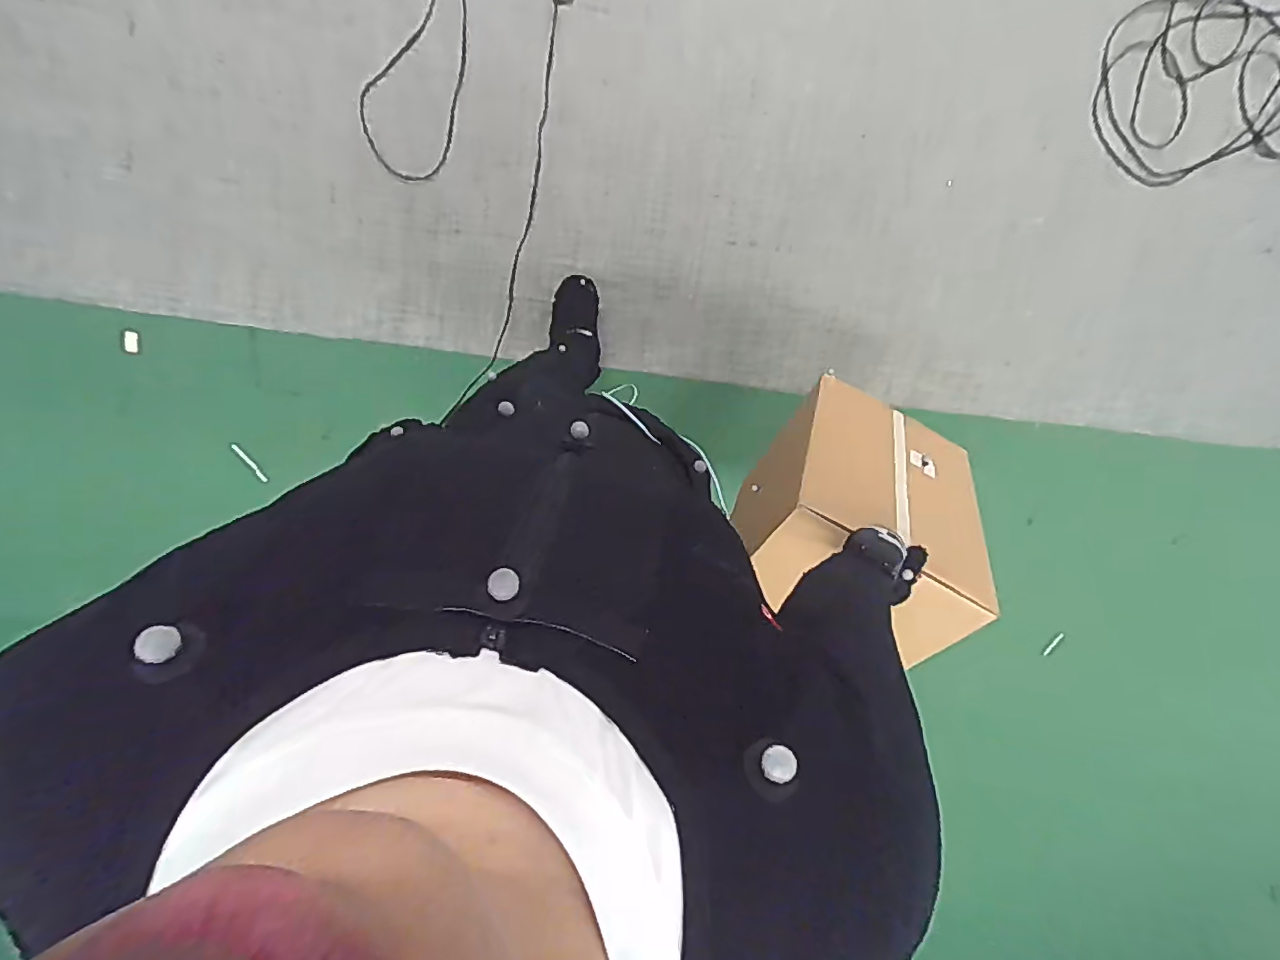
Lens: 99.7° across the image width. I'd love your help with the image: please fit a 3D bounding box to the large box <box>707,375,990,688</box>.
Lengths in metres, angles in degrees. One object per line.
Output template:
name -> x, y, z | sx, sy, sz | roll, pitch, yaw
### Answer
large box -> 0.357, 0.085, 0.984 | 0.320, 0.408, 0.320 | 30, 132, -1
